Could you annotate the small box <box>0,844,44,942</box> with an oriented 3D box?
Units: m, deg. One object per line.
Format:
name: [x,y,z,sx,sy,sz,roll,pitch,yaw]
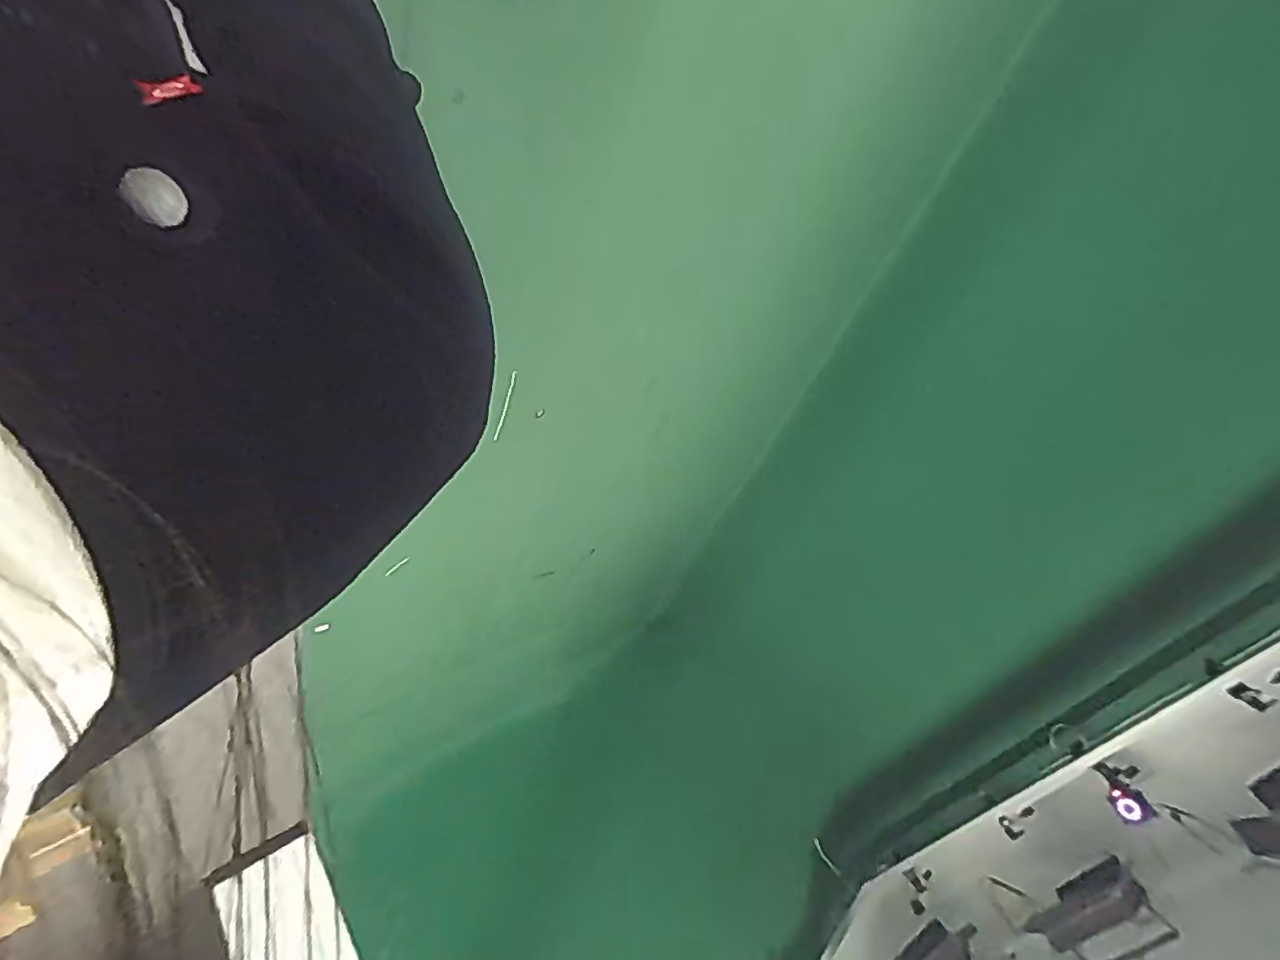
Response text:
small box: [-1.713,1.103,1.409,0.179,0.176,0.168,-17,139,-42]
